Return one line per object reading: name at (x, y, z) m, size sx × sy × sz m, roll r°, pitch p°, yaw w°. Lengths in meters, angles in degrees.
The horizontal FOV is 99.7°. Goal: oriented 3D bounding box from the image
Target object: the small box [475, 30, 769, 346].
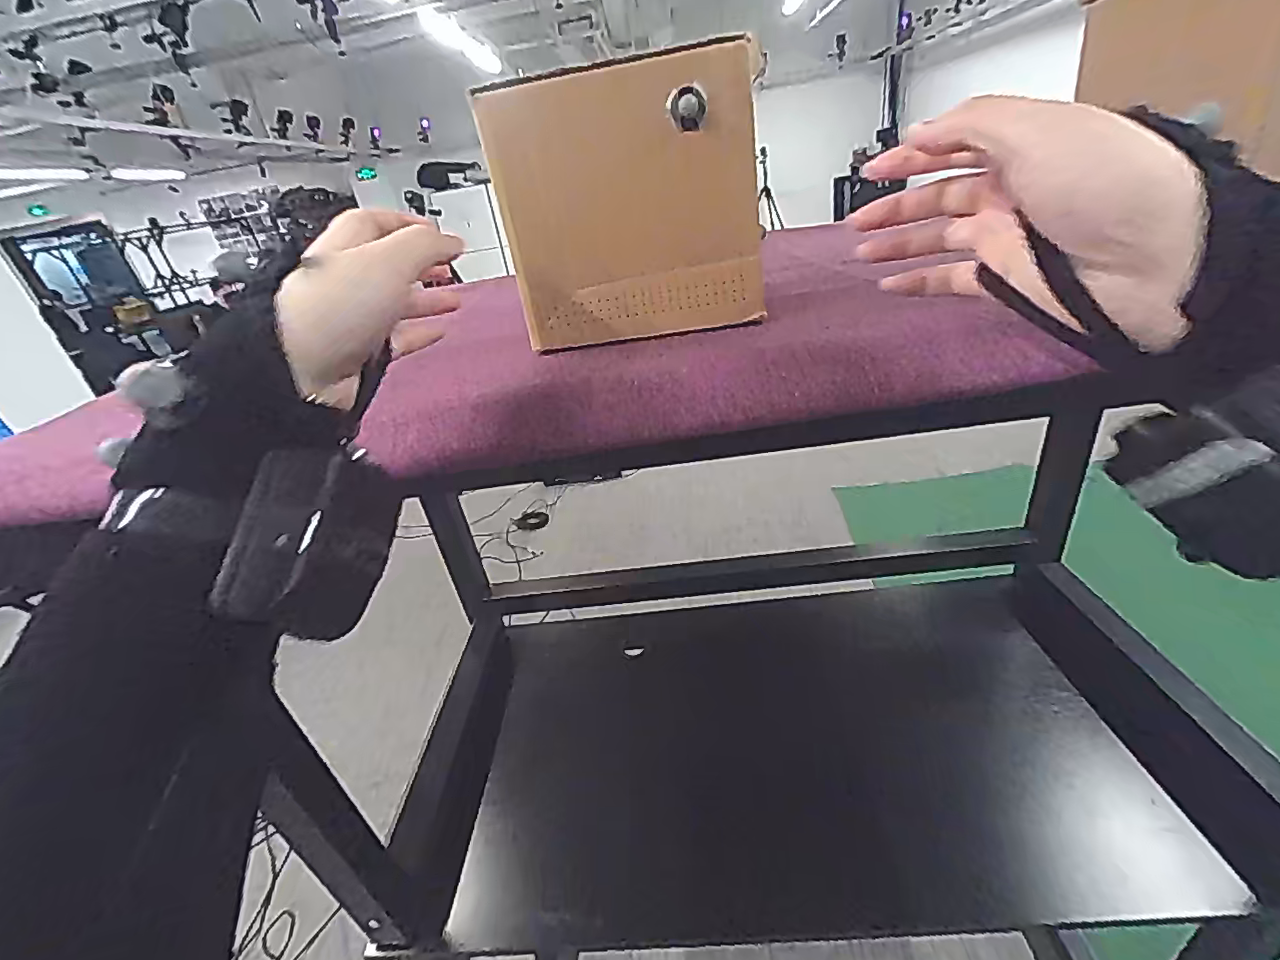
small box at (0.000, -0.211, 0.425) m, size 0.179 × 0.176 × 0.168 m, roll -6°, pitch 28°, yaw 7°
